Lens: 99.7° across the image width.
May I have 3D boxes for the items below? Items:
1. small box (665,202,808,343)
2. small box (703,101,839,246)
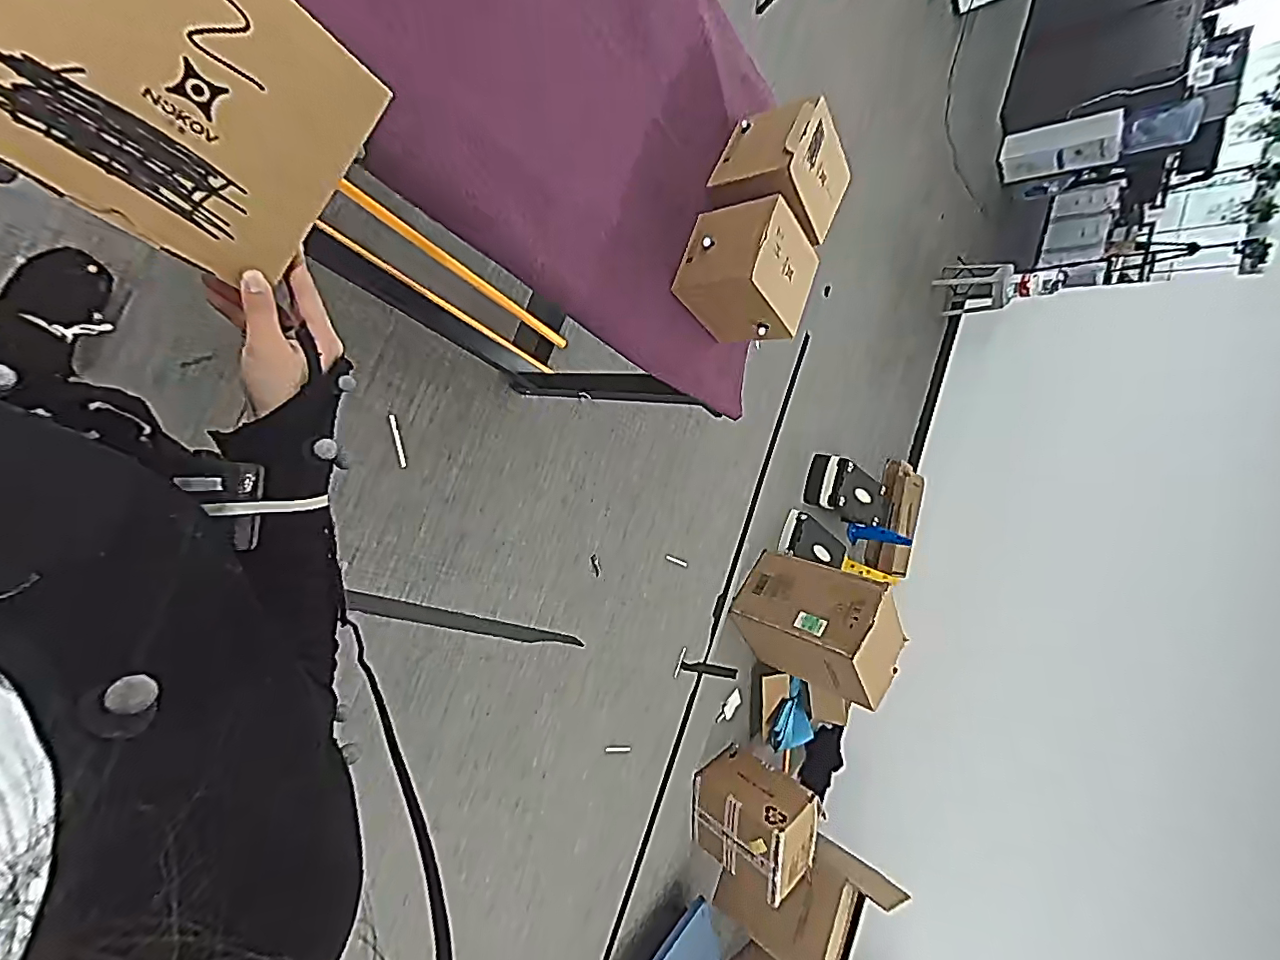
[{"bbox_3d":[0.178,-0.367,0.988,0.179,0.176,0.168,31,74,-45],"label":"small box"},{"bbox_3d":[0.245,-0.553,1.018,0.179,0.176,0.168,38,73,-46],"label":"small box"}]
